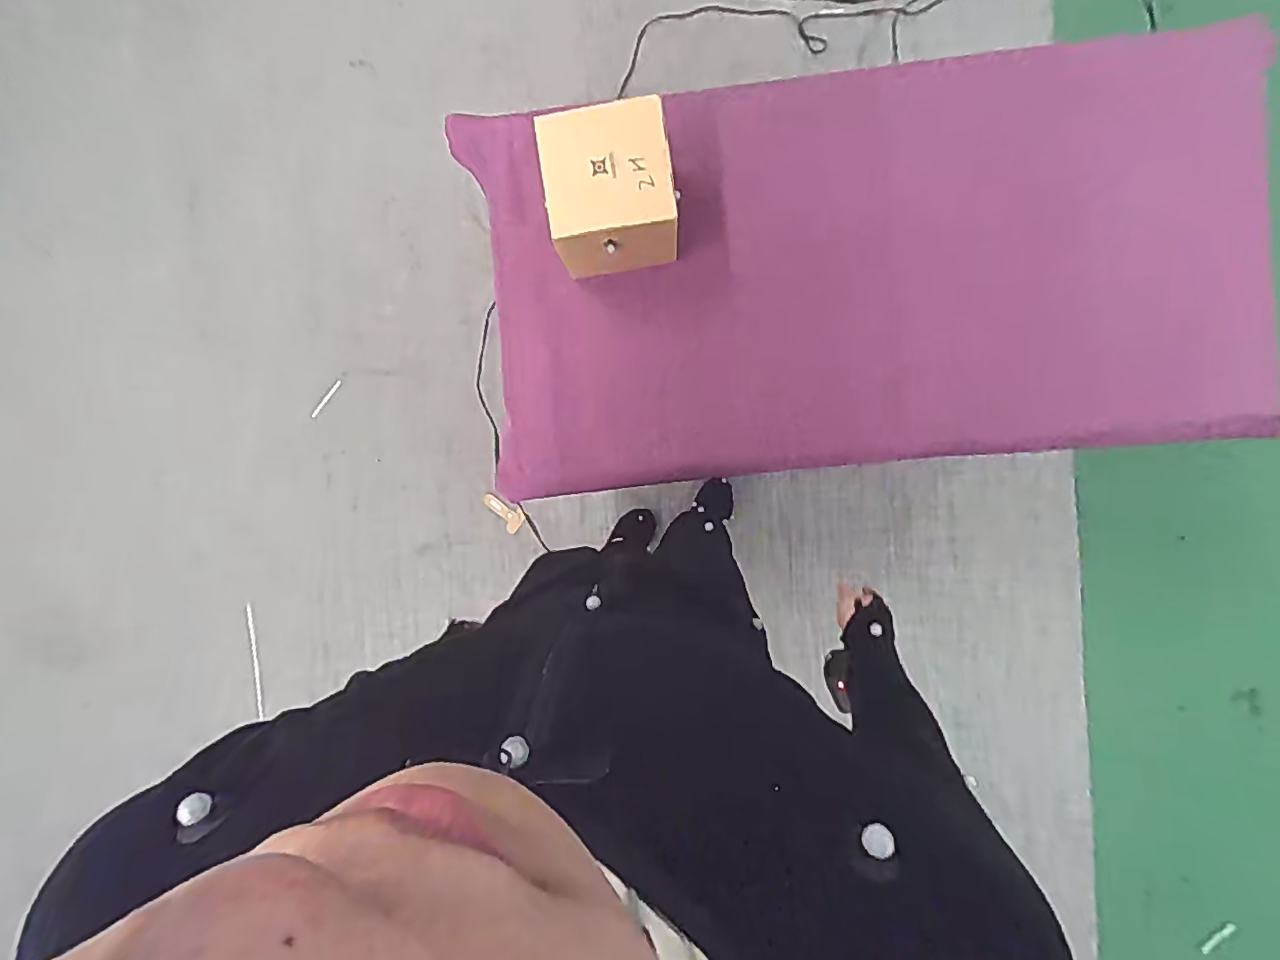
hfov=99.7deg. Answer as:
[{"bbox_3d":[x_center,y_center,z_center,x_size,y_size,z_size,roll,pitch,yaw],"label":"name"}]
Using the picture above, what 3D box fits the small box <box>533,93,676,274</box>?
[{"bbox_3d":[-0.042,-0.420,0.797,0.179,0.176,0.168,-8,92,3],"label":"small box"}]
